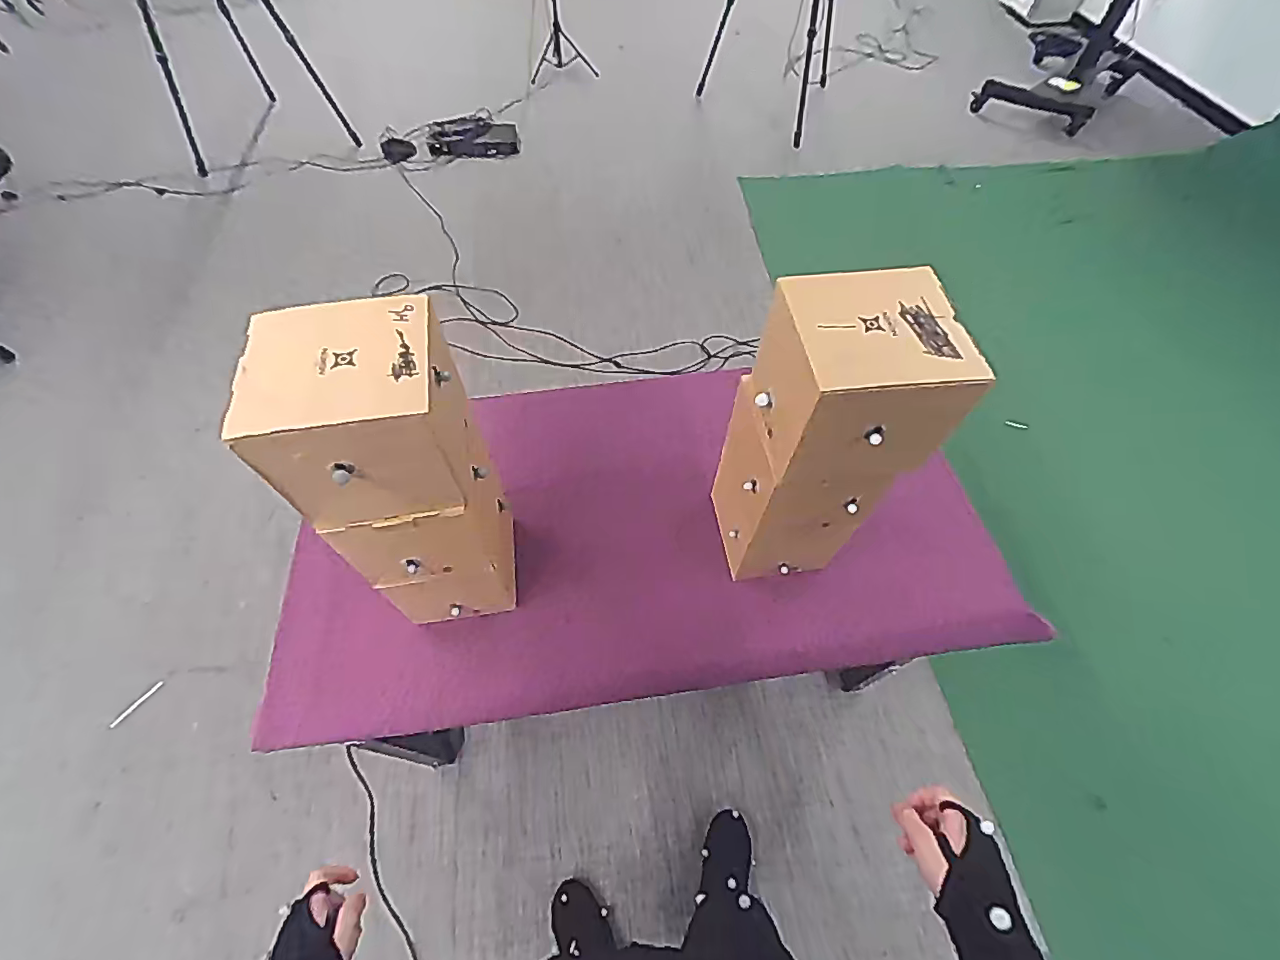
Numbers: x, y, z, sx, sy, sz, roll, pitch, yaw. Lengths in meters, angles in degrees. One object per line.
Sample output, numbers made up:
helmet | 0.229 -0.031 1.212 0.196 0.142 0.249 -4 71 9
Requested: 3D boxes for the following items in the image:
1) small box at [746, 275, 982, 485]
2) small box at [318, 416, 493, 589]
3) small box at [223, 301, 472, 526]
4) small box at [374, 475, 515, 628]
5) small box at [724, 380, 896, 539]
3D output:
small box | 0.235 -0.108 0.619 0.179 0.176 0.168 -5 58 -3
small box | -0.297 0.026 0.726 0.168 0.176 0.179 -8 58 -6
small box | -0.295 -0.065 0.590 0.179 0.176 0.168 -10 58 -6
small box | -0.298 0.116 0.861 0.168 0.176 0.179 -7 57 -5
small box | 0.223 -0.028 0.762 0.168 0.176 0.179 -7 58 -5
